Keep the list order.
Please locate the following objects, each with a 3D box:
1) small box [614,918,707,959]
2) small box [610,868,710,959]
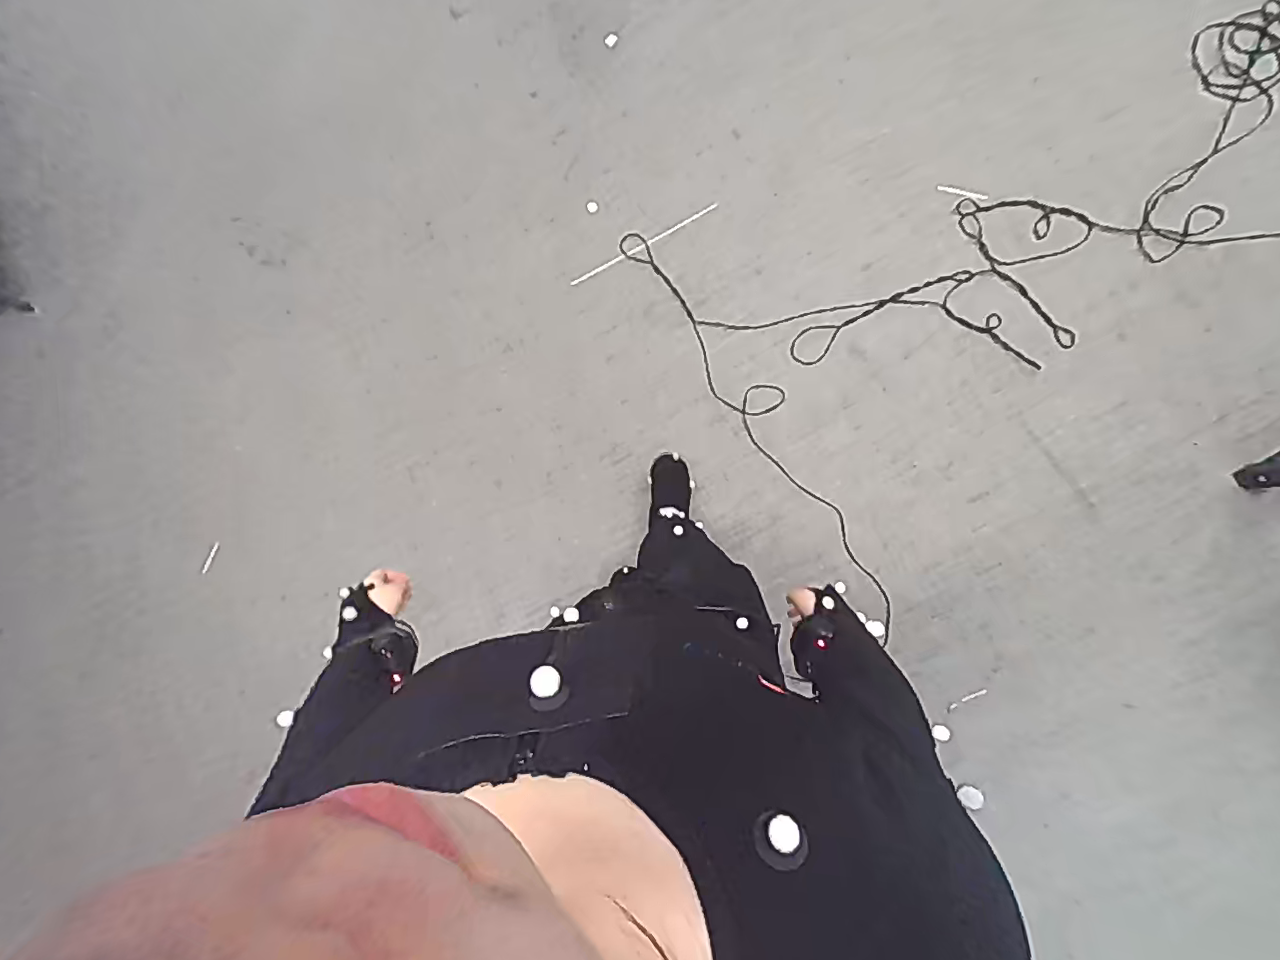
[{"bbox_3d":[0.048,0.982,1.015,0.179,0.176,0.168,-18,84,0],"label":"small box"},{"bbox_3d":[0.050,1.000,1.179,0.179,0.176,0.168,-20,84,1],"label":"small box"}]
